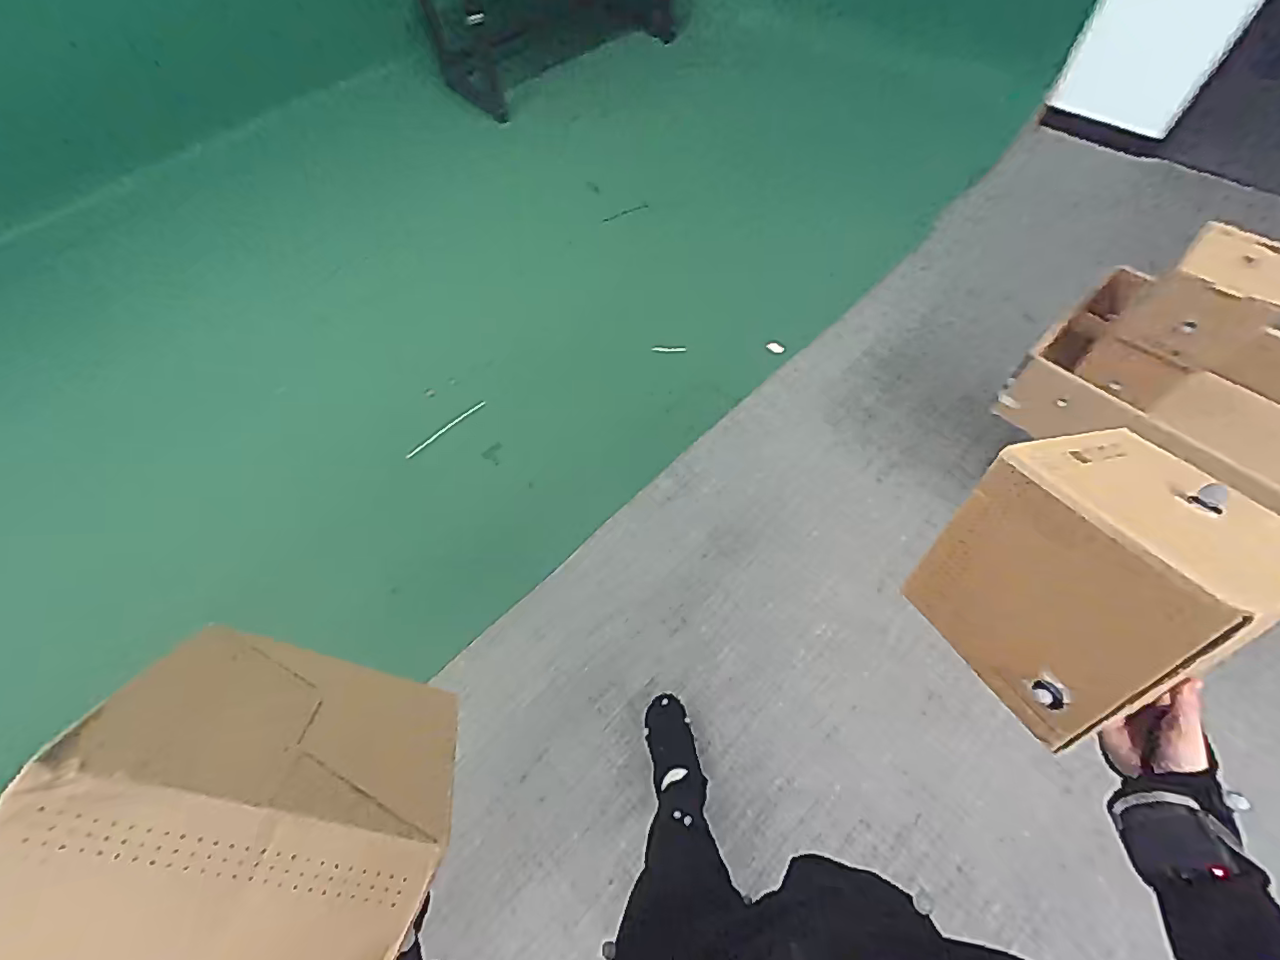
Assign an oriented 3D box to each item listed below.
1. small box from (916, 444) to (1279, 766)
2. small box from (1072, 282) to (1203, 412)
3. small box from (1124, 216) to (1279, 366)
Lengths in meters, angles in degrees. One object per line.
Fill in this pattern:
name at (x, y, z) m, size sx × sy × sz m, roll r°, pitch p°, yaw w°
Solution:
small box at (0.364, 0.084, 0.429) m, size 0.168 × 0.179 × 0.176 m, roll -7°, pitch 44°, yaw -23°
small box at (1.090, -0.282, 1.164) m, size 0.168 × 0.176 × 0.179 m, roll 38°, pitch 71°, yaw 24°
small box at (1.071, -0.348, 1.013) m, size 0.168 × 0.176 × 0.179 m, roll 39°, pitch 72°, yaw 23°
